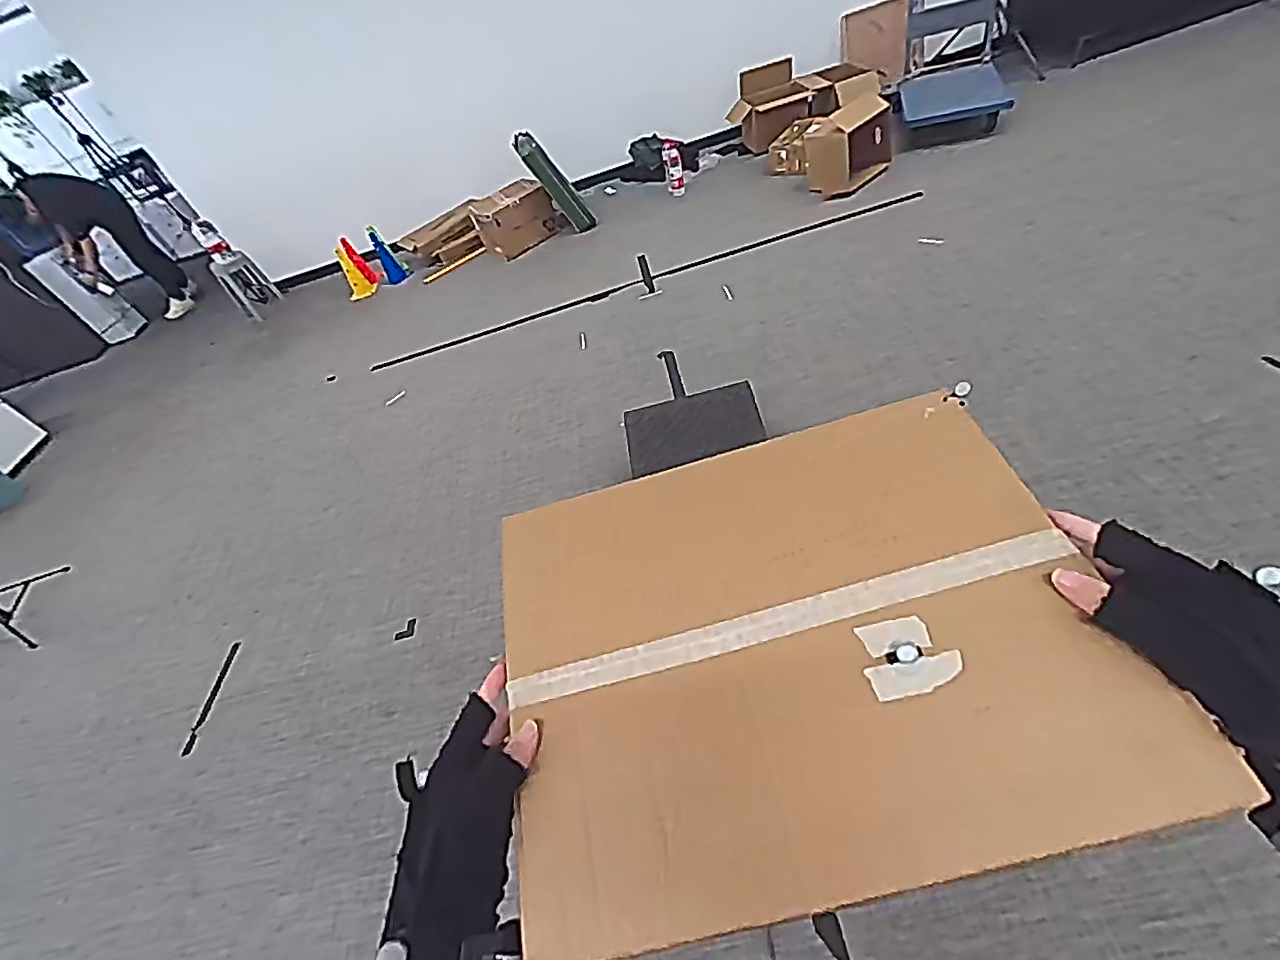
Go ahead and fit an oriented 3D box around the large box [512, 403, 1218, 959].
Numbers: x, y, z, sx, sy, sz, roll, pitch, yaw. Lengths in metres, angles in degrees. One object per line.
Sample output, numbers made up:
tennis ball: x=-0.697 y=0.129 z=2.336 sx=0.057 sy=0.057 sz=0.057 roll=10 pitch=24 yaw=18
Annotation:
large box: x=0.132 y=0.191 z=0.513 sx=0.408 sy=0.320 sz=0.320 roll=-16 pitch=54 yaw=3
